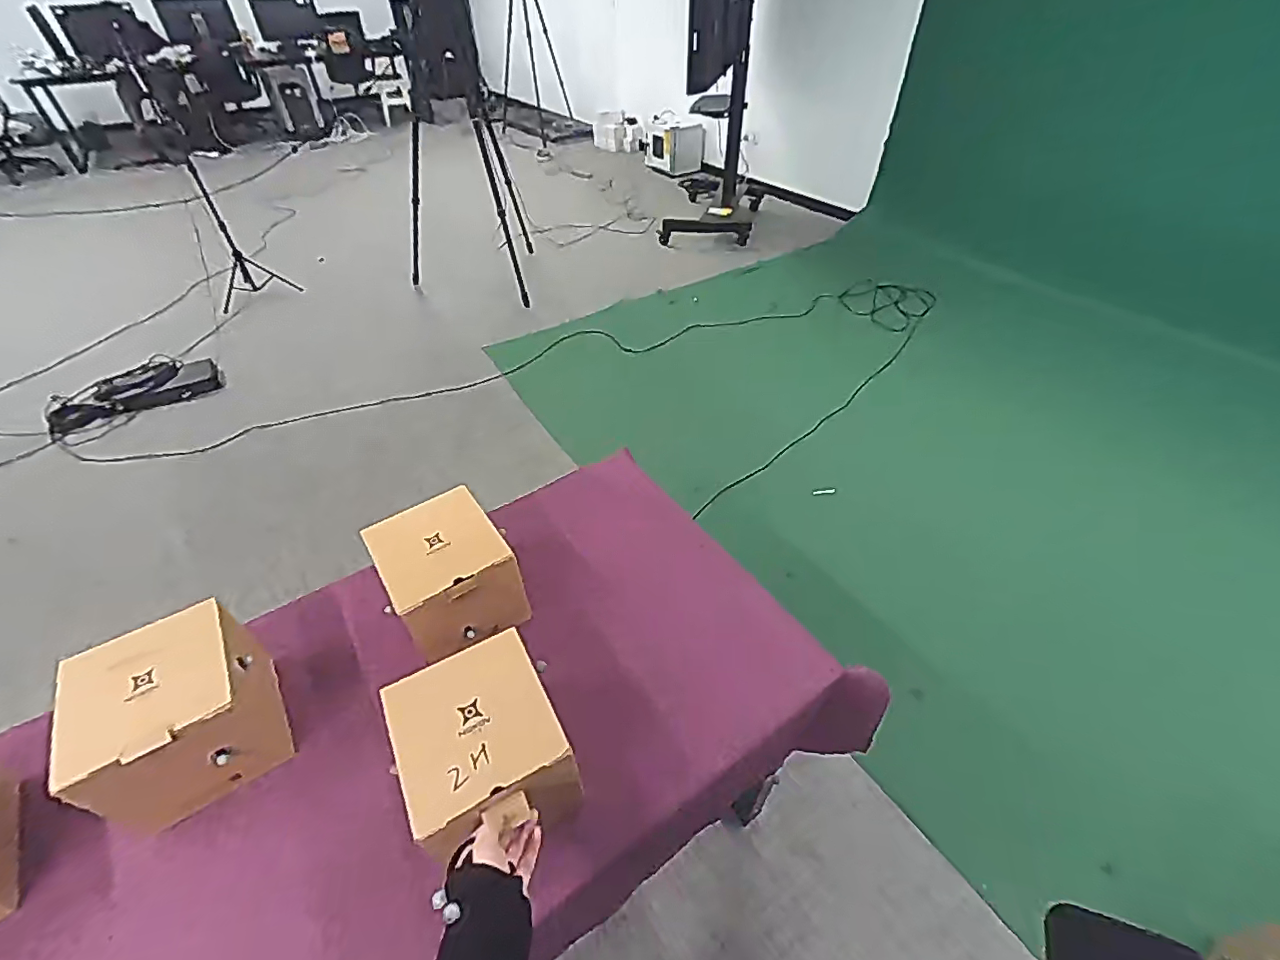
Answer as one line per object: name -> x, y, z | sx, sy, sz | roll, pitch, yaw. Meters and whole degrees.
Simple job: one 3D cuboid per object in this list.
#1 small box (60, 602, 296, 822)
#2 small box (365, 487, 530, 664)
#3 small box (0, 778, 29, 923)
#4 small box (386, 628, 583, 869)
small box -> -0.571, 0.298, 0.688 | 0.168, 0.176, 0.179 | -25, 49, -24
small box -> -0.290, 0.149, 0.833 | 0.168, 0.176, 0.179 | -28, 51, -25
small box -> -0.809, 0.419, 0.569 | 0.168, 0.176, 0.179 | -30, 52, -27
small box -> -0.181, 0.320, 0.651 | 0.168, 0.176, 0.179 | -23, 48, -20
